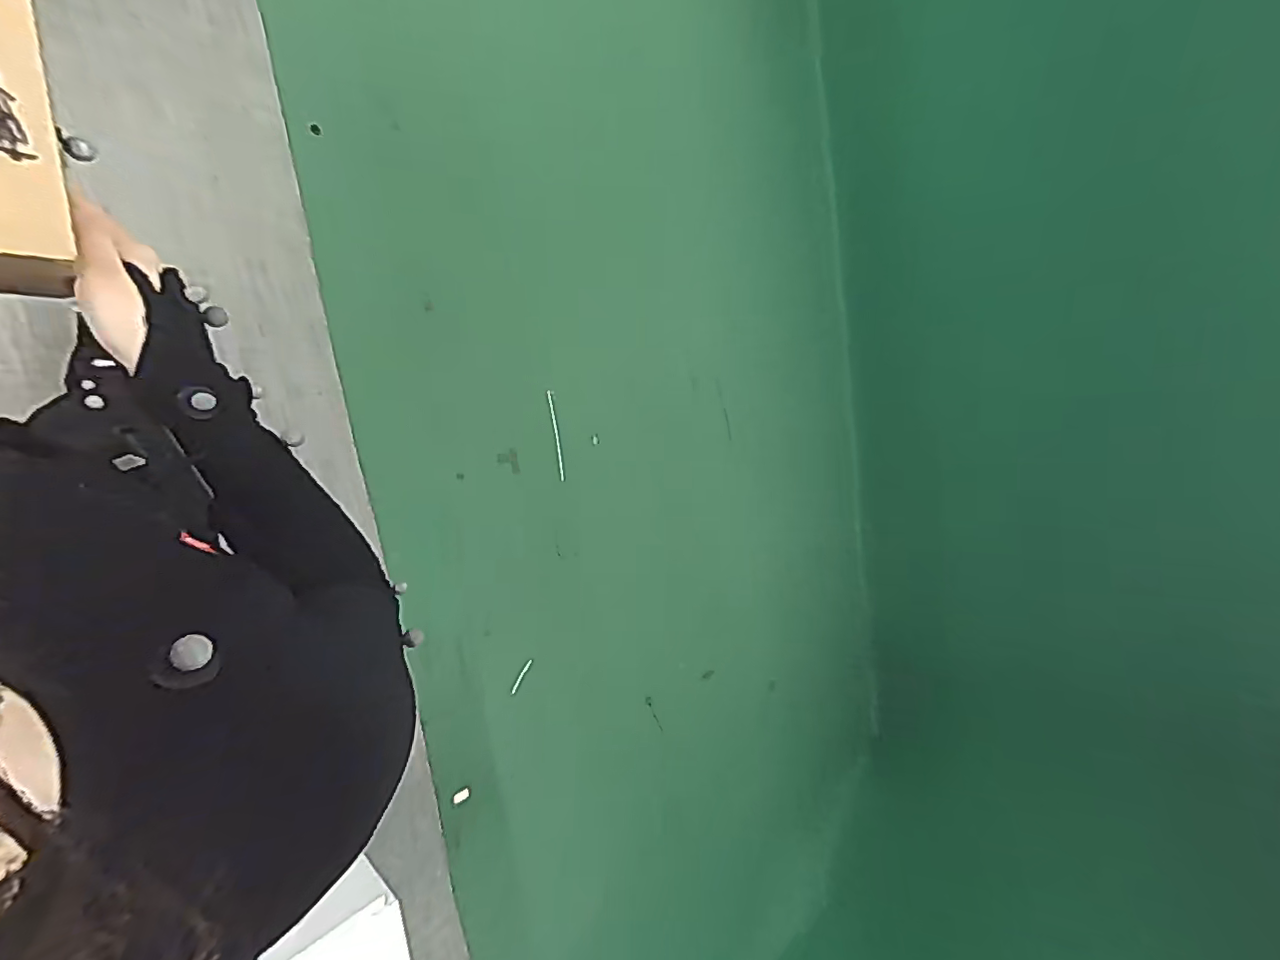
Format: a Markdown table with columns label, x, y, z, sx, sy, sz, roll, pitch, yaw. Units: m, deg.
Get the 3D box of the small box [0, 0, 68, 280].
| label | x | y | z | sx | sy | sz | roll | pitch | yaw |
| --- | --- | --- | --- | --- | --- | --- | --- | --- | --- |
| small box | -0.422 | -0.201 | 0.266 | 0.179 | 0.176 | 0.168 | -11 | 106 | -45 |
